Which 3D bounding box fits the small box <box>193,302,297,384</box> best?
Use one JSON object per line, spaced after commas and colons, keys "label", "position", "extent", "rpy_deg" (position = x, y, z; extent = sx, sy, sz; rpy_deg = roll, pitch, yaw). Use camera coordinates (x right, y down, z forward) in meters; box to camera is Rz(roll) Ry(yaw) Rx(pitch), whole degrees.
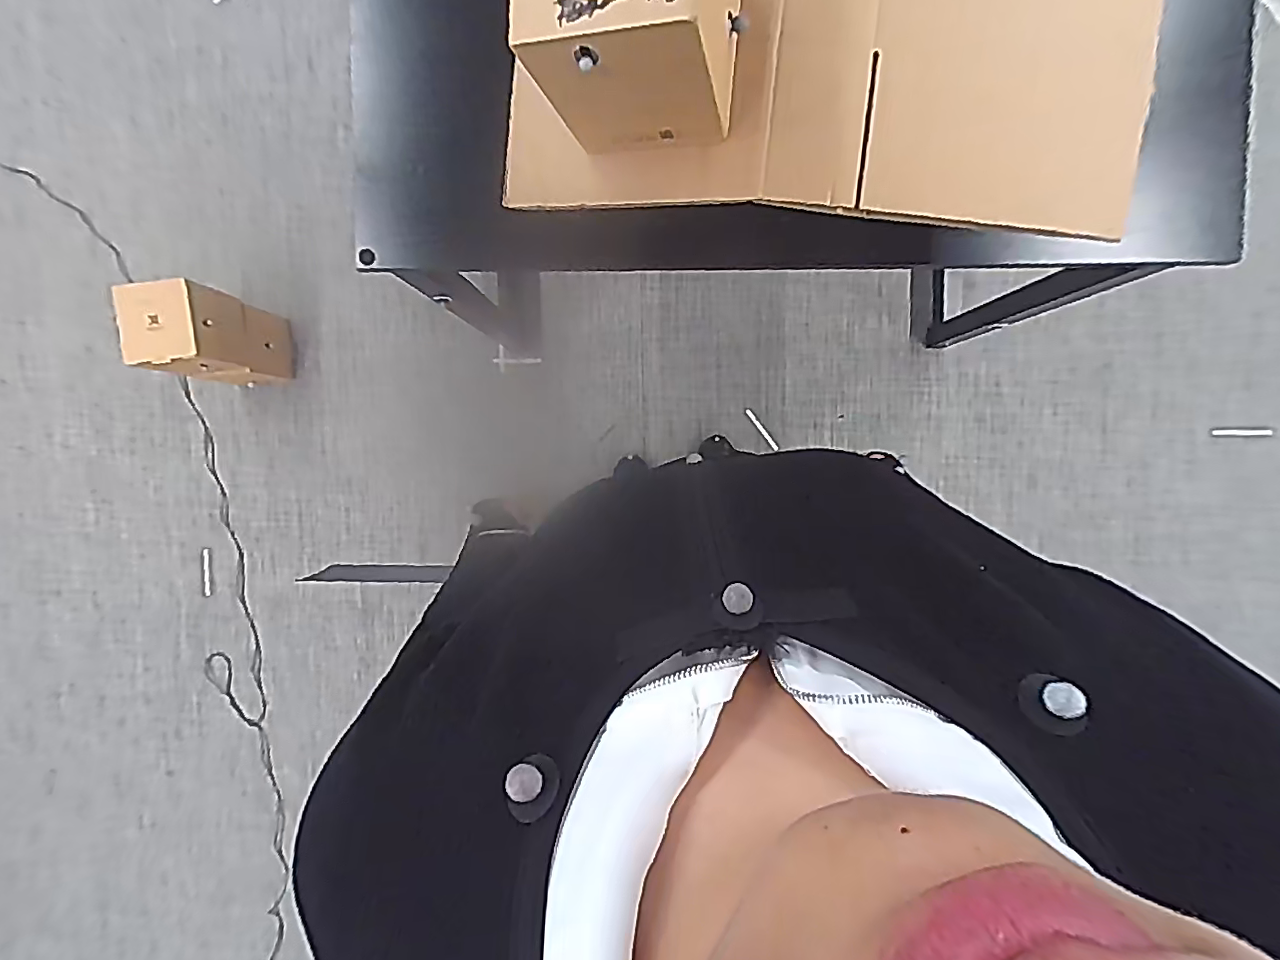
{"label": "small box", "position": [-1.046, -0.358, 1.432], "extent": [0.168, 0.176, 0.179], "rpy_deg": [-4, 94, 2]}

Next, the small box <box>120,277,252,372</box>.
{"label": "small box", "position": [-1.053, -0.355, 1.269], "extent": [0.168, 0.176, 0.179], "rpy_deg": [-7, 92, 1]}

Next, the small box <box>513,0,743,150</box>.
{"label": "small box", "position": [0.001, -0.450, 0.509], "extent": [0.168, 0.176, 0.179], "rpy_deg": [6, 93, 17]}
